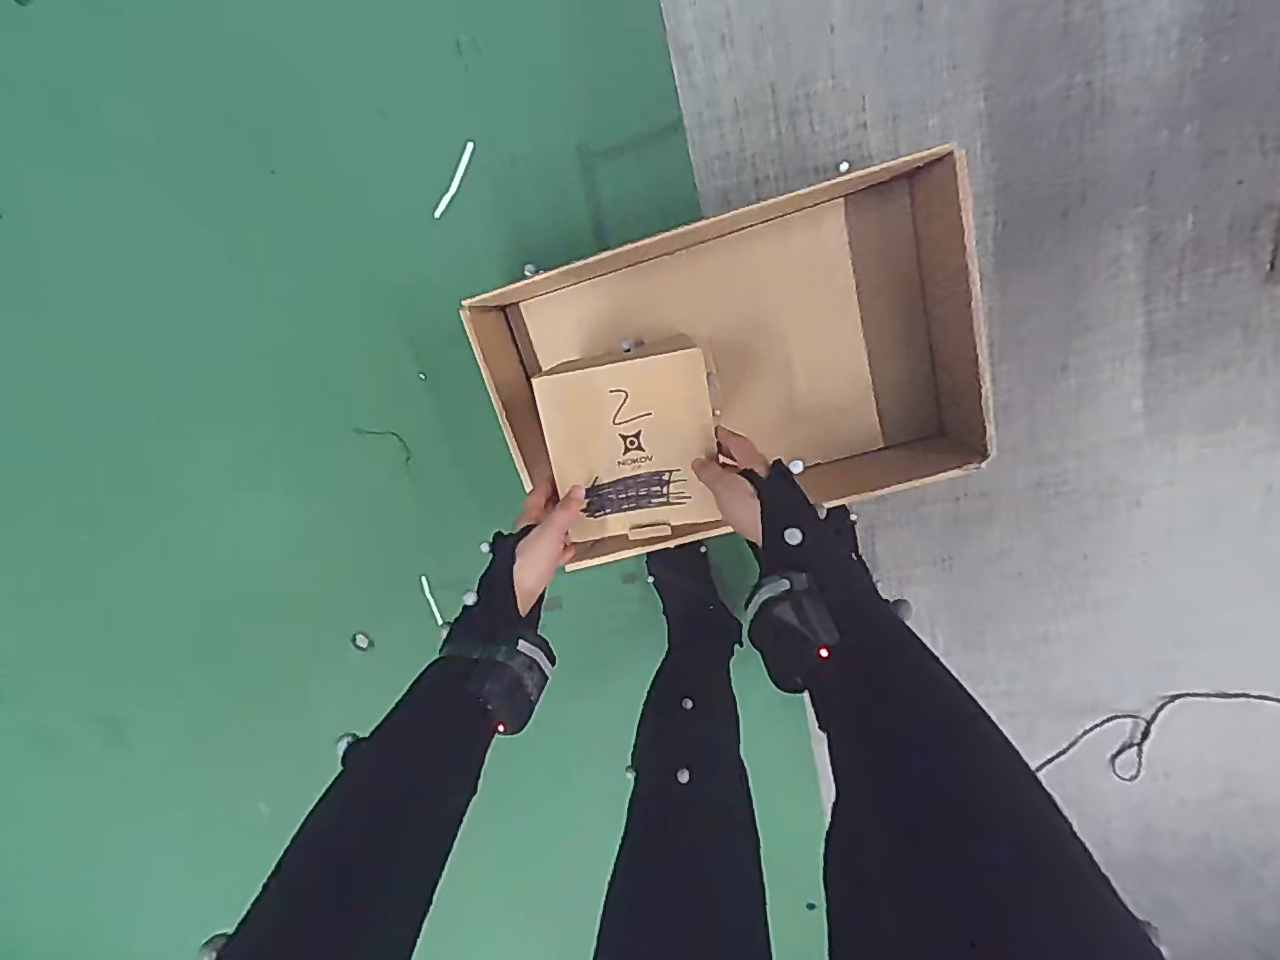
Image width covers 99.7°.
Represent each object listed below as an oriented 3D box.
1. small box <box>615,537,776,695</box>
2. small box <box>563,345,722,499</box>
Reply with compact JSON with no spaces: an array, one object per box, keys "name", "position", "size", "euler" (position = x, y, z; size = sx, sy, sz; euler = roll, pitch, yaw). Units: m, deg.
[{"name":"small box","position":[0.097,0.222,0.893],"size":[0.176,0.168,0.179],"euler":[33,81,-31]},{"name":"small box","position":[0.009,-0.090,0.772],"size":[0.179,0.176,0.168],"euler":[-15,105,7]}]
